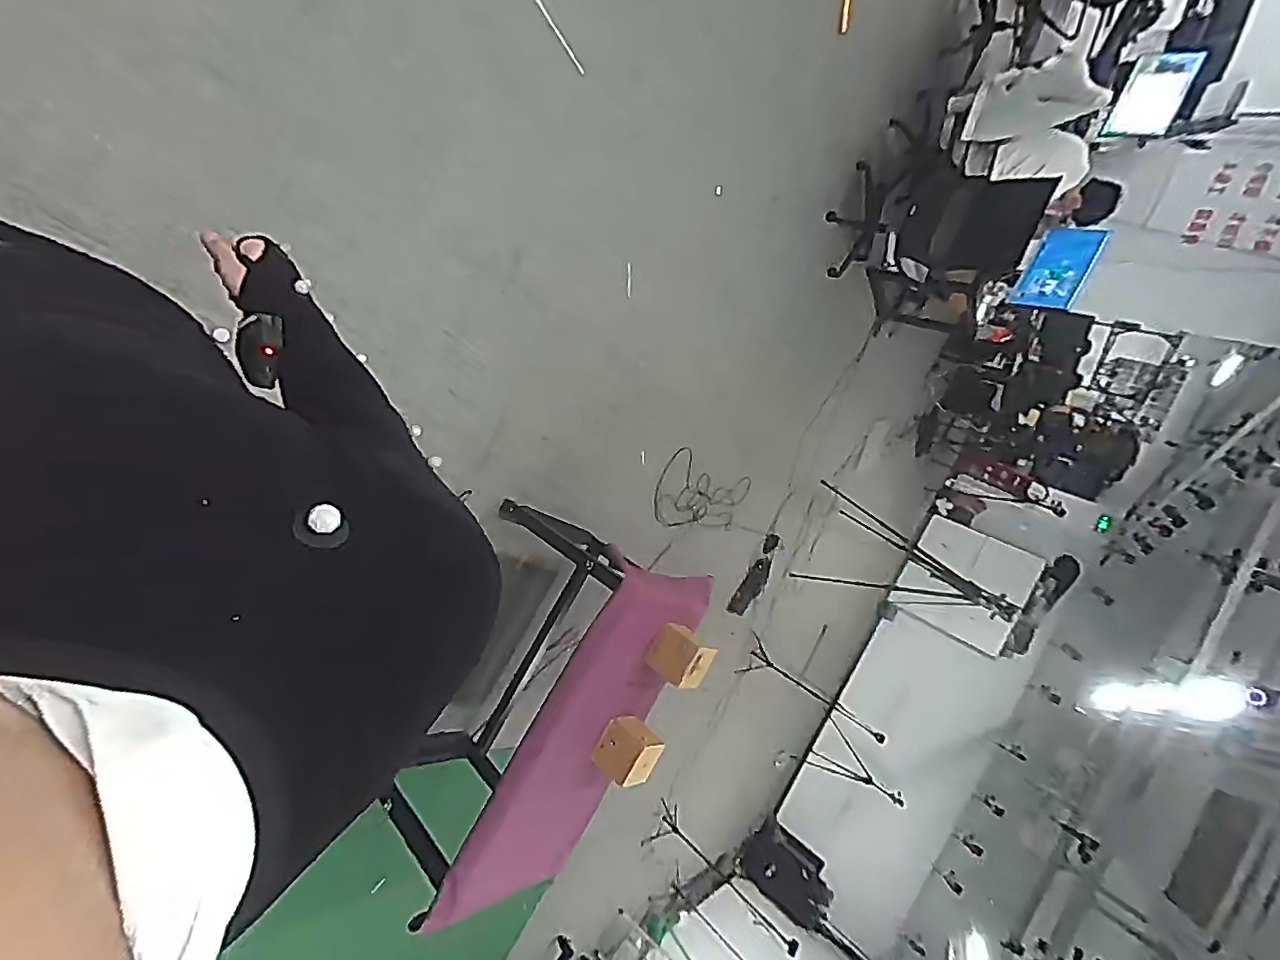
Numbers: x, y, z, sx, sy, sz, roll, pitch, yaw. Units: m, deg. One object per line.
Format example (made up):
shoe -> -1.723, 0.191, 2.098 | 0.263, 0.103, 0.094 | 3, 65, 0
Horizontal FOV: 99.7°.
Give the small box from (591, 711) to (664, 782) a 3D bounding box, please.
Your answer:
small box -> -0.047, 0.979, 2.003 | 0.168, 0.176, 0.179 | -60, 144, -2
